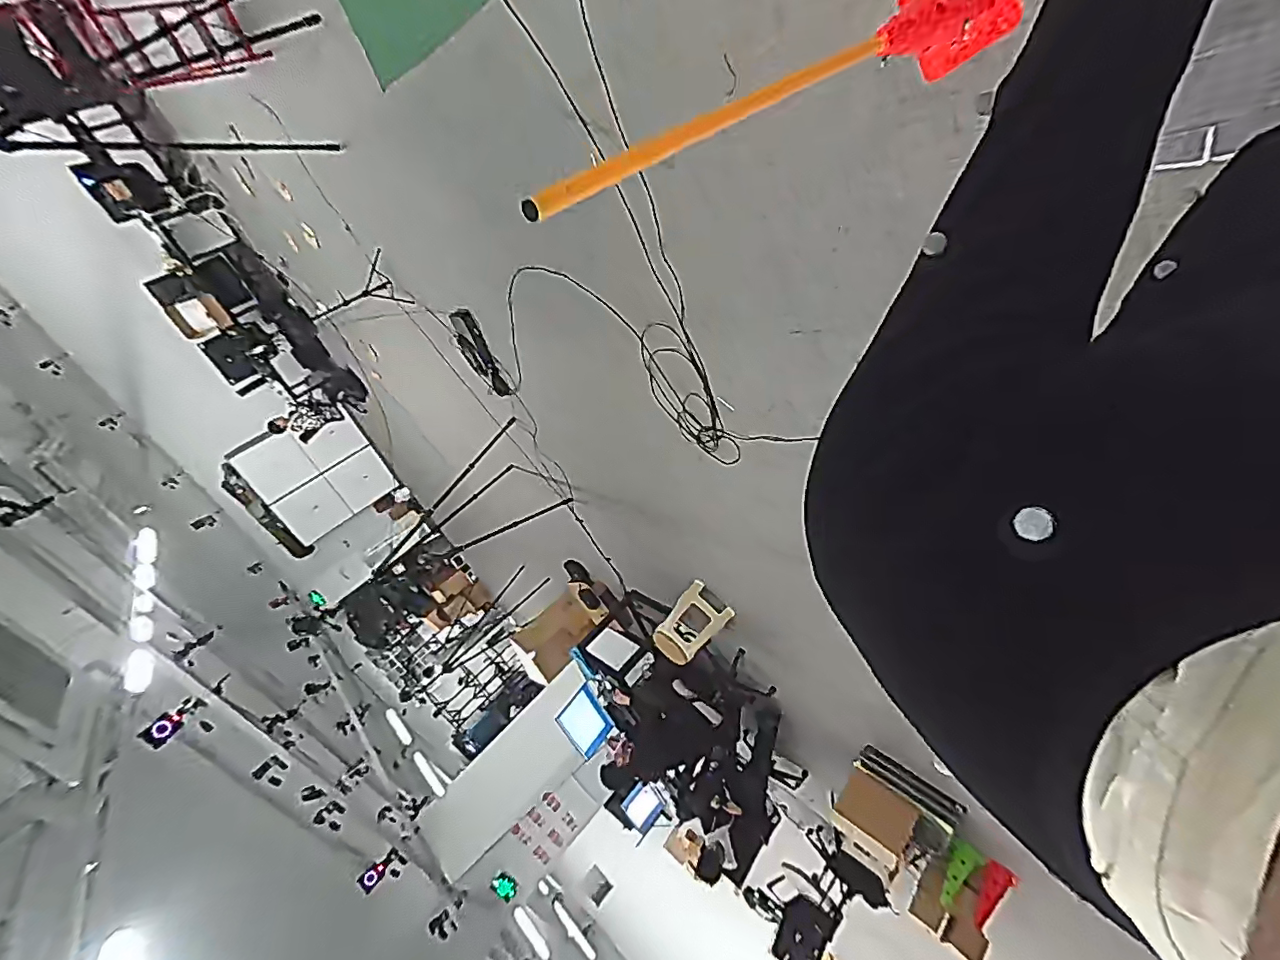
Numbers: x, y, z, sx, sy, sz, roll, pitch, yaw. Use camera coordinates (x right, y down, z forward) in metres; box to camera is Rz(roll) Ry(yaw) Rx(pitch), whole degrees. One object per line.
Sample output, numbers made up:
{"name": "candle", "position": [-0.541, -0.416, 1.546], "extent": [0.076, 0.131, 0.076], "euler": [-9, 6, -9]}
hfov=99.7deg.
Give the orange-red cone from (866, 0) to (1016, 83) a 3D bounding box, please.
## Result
{"name": "orange-red cone", "position": [0.547, -0.885, 1.061], "extent": [0.199, 0.360, 0.198], "euler": [-1, 125, 58]}
